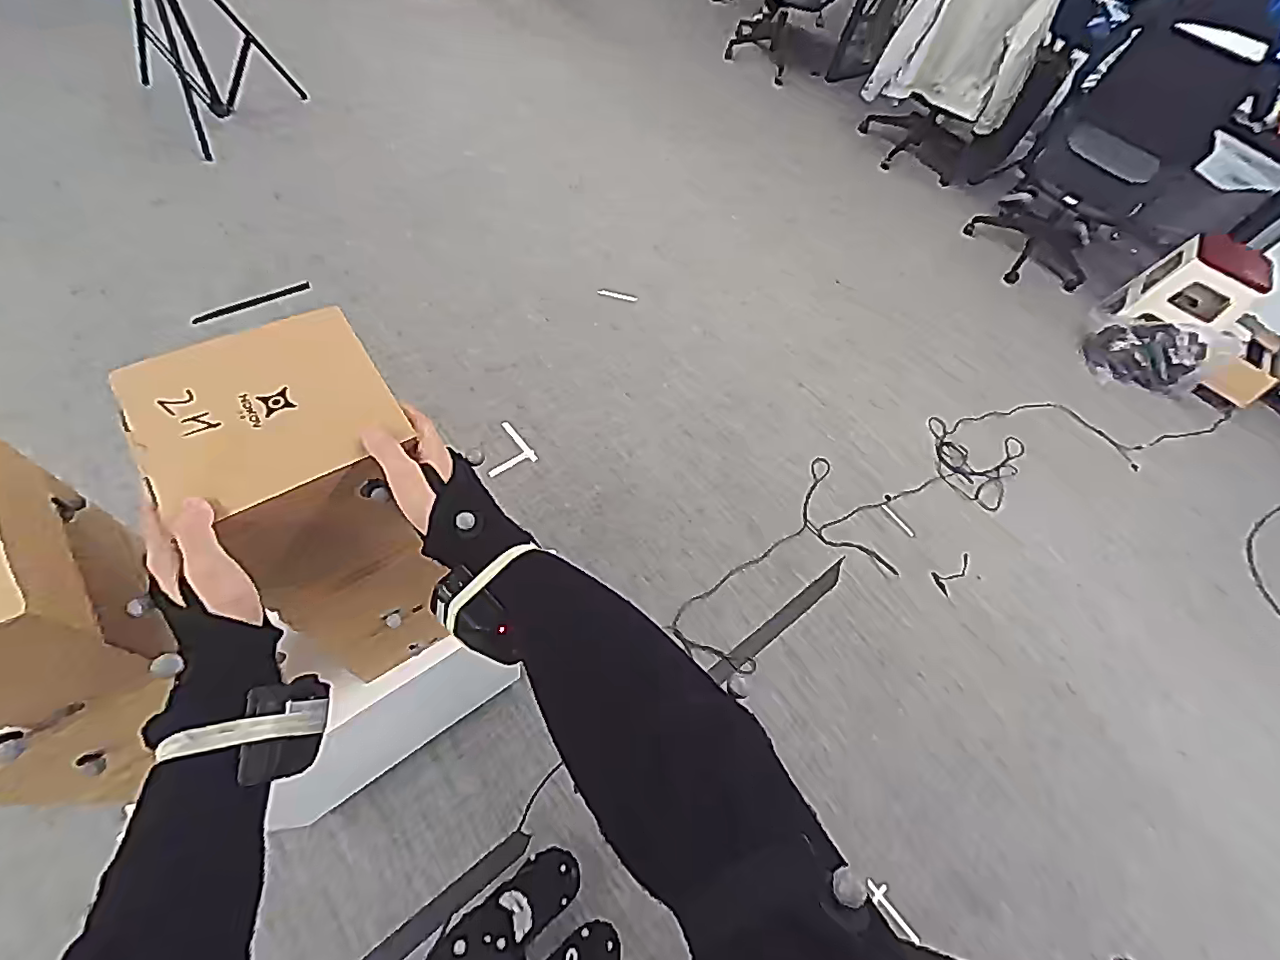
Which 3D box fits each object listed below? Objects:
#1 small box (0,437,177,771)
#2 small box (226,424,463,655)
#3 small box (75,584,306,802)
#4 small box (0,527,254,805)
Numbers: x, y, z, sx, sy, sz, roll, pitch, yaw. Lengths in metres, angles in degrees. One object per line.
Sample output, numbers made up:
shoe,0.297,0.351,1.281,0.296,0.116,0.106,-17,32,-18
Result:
small box,-0.491,0.098,0.386,0.168,0.176,0.179,-33,71,-25
small box,-0.325,0.073,0.625,0.168,0.176,0.179,-29,70,-24
small box,-0.549,0.264,0.659,0.168,0.176,0.179,-31,68,-25
small box,-0.519,0.182,0.522,0.168,0.176,0.179,-32,70,-26
